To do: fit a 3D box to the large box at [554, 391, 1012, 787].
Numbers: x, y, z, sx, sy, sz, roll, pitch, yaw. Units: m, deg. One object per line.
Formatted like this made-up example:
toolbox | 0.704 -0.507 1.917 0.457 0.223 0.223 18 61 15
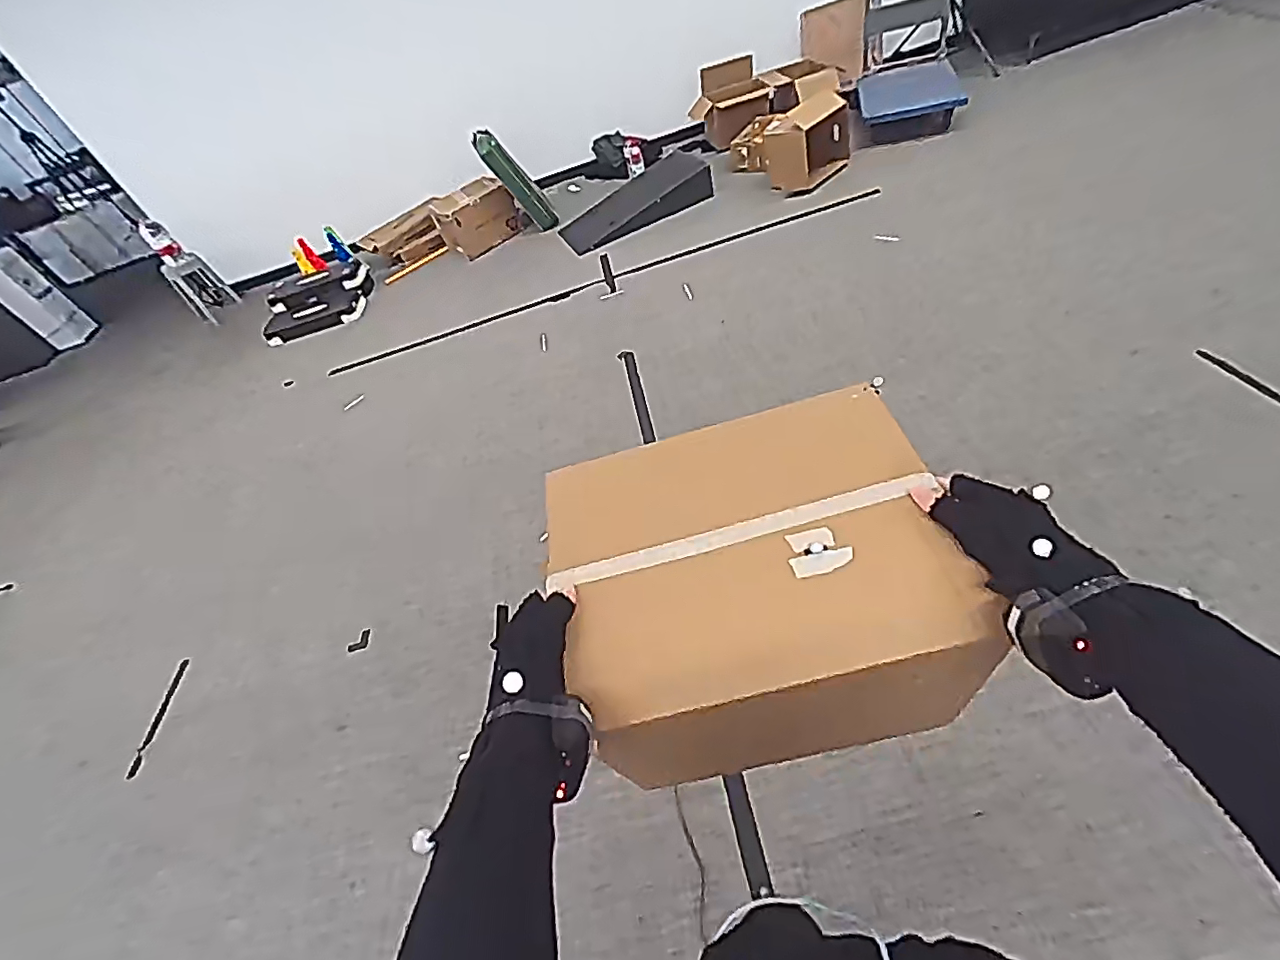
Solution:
large box | 0.139 0.149 0.683 0.408 0.320 0.320 -16 51 4
